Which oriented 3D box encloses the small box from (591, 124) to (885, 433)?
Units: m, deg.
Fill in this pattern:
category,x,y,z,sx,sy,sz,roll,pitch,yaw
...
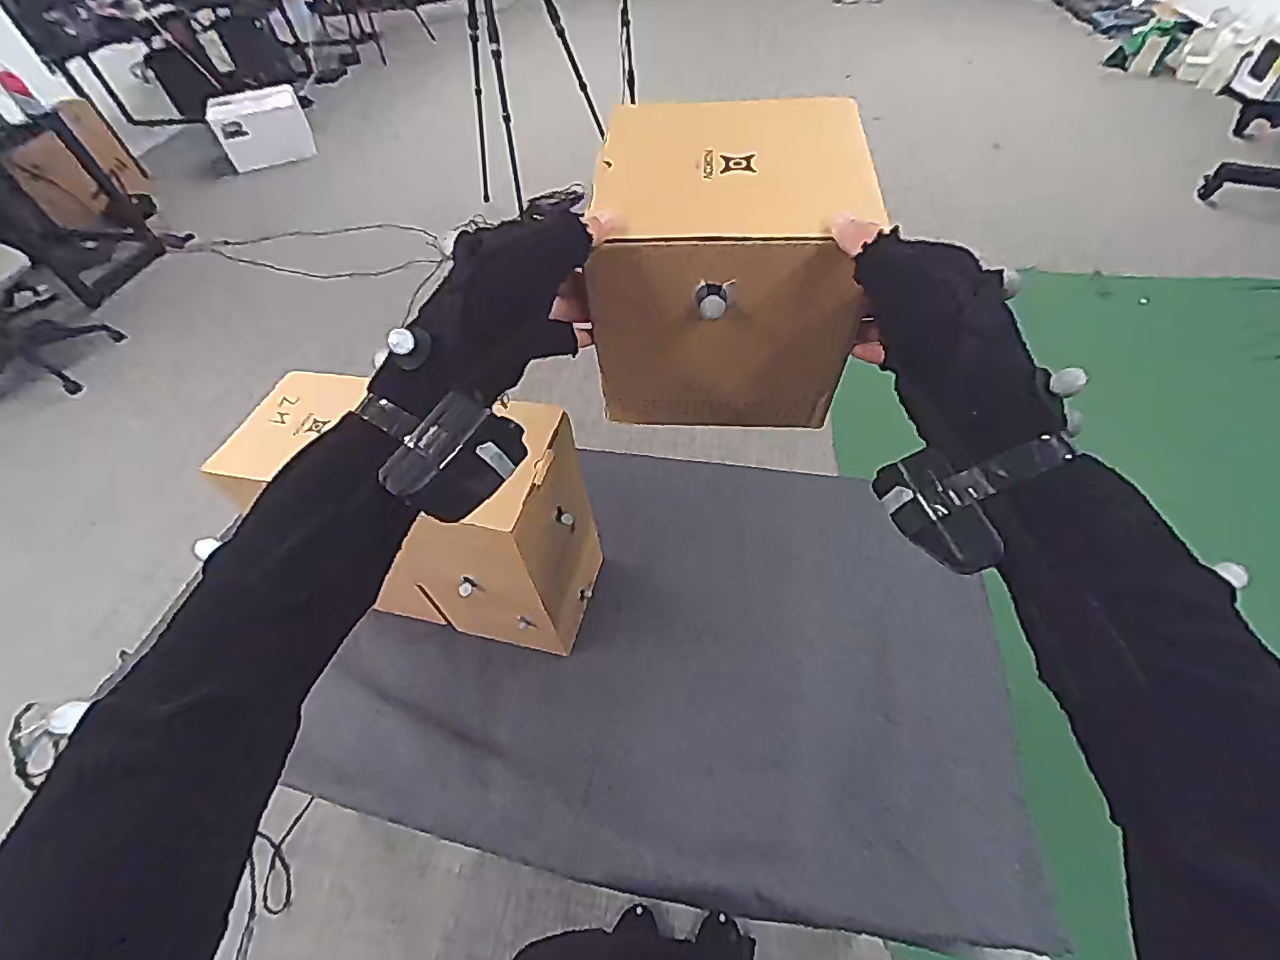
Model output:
category,x,y,z,sx,sy,sz,roll,pitch,yaw
small box,0.067,-0.151,0.429,0.179,0.176,0.168,2,56,6
